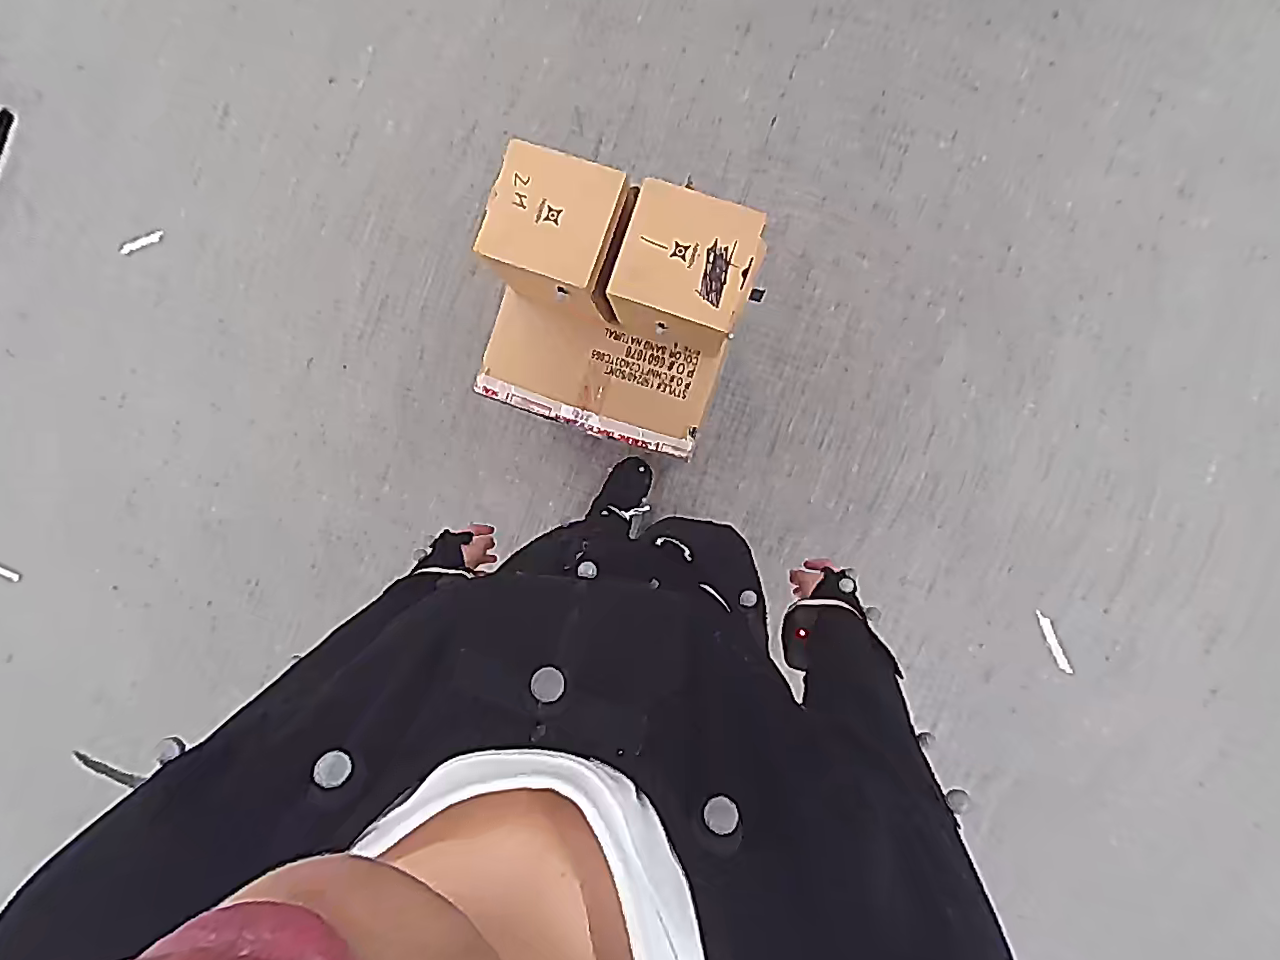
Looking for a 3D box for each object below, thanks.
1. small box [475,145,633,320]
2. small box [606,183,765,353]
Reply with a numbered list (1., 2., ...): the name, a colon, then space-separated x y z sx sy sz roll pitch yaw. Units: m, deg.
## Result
1. small box: -0.114 -0.361 0.824 0.179 0.176 0.168 21 92 7
2. small box: 0.066 -0.301 0.810 0.179 0.176 0.168 20 93 4
